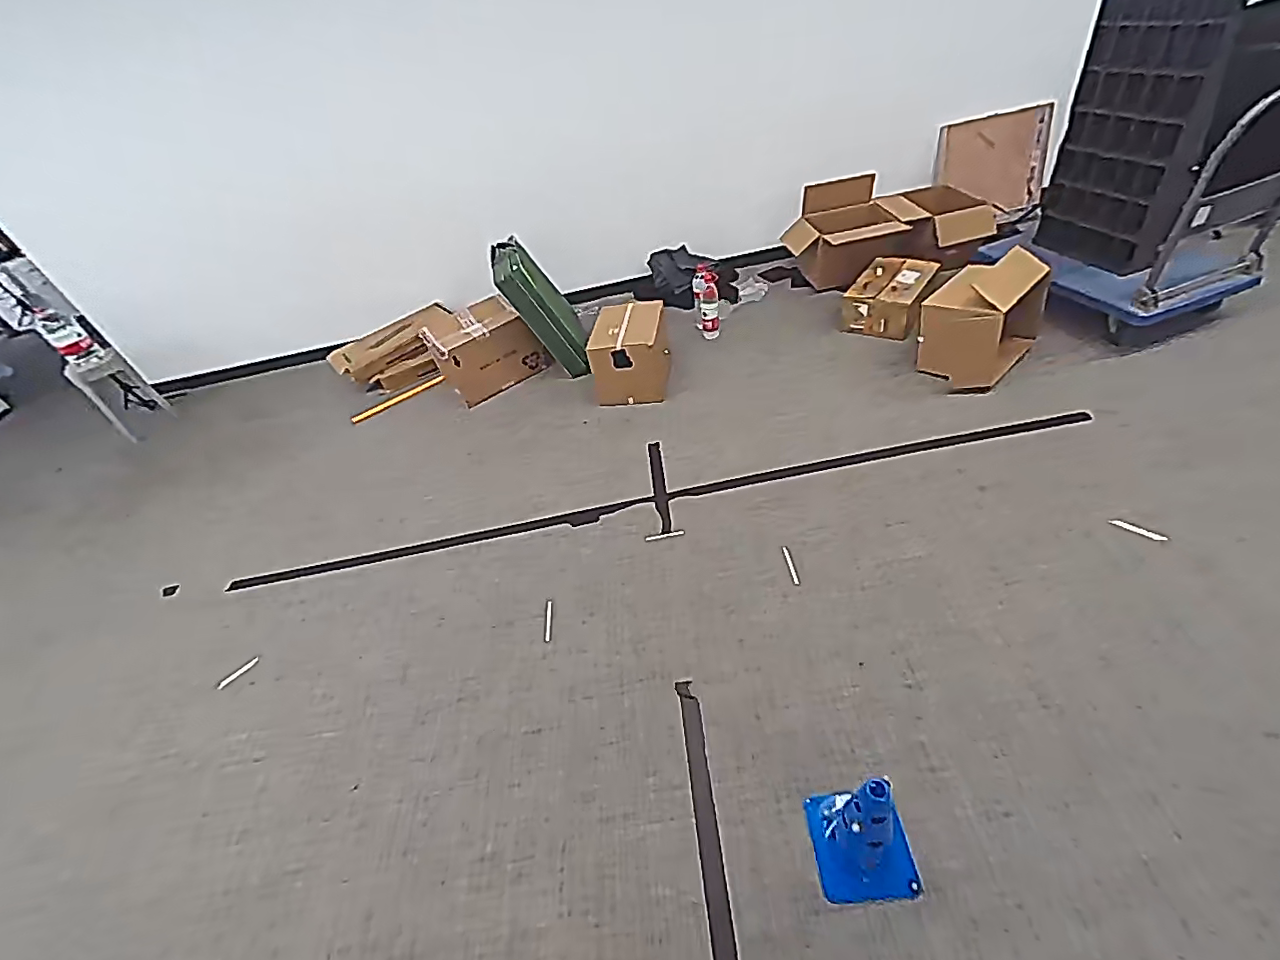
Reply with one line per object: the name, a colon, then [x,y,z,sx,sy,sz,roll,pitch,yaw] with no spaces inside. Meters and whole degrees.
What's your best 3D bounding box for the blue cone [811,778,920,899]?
blue cone: [0.453,0.673,1.065,0.192,0.380,0.193,-7,42,6]
